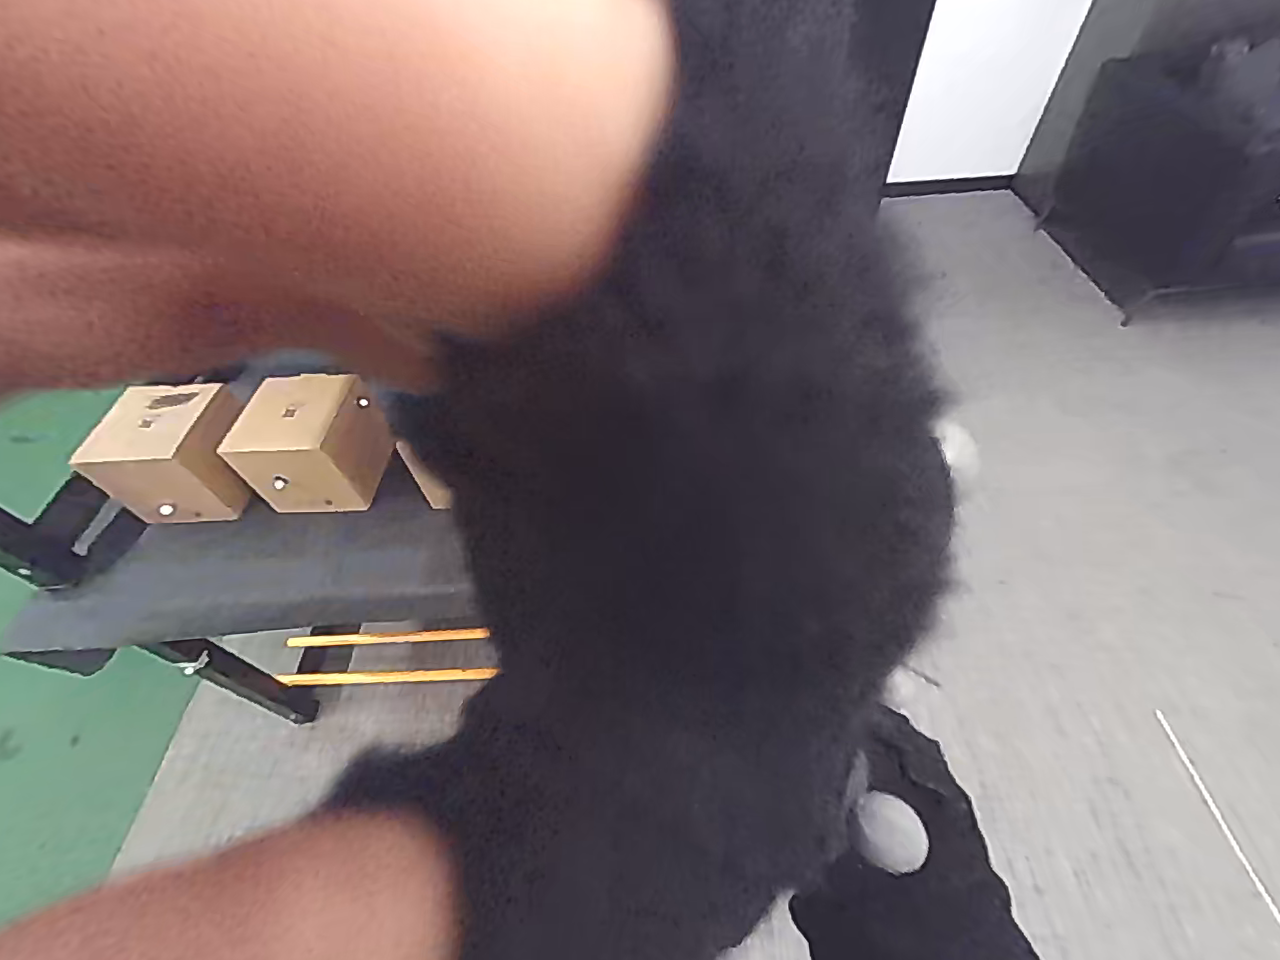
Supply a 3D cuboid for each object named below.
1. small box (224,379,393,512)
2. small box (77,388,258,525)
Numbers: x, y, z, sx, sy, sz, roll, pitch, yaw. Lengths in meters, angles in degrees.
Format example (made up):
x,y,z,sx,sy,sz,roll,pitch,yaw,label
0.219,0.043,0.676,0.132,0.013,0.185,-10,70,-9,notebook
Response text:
x,y,z,sx,sy,sz,roll,pitch,yaw,label
-0.560,-0.054,0.947,0.168,0.176,0.179,-2,50,2,small box
-0.787,-0.039,0.946,0.168,0.176,0.179,-3,51,1,small box
